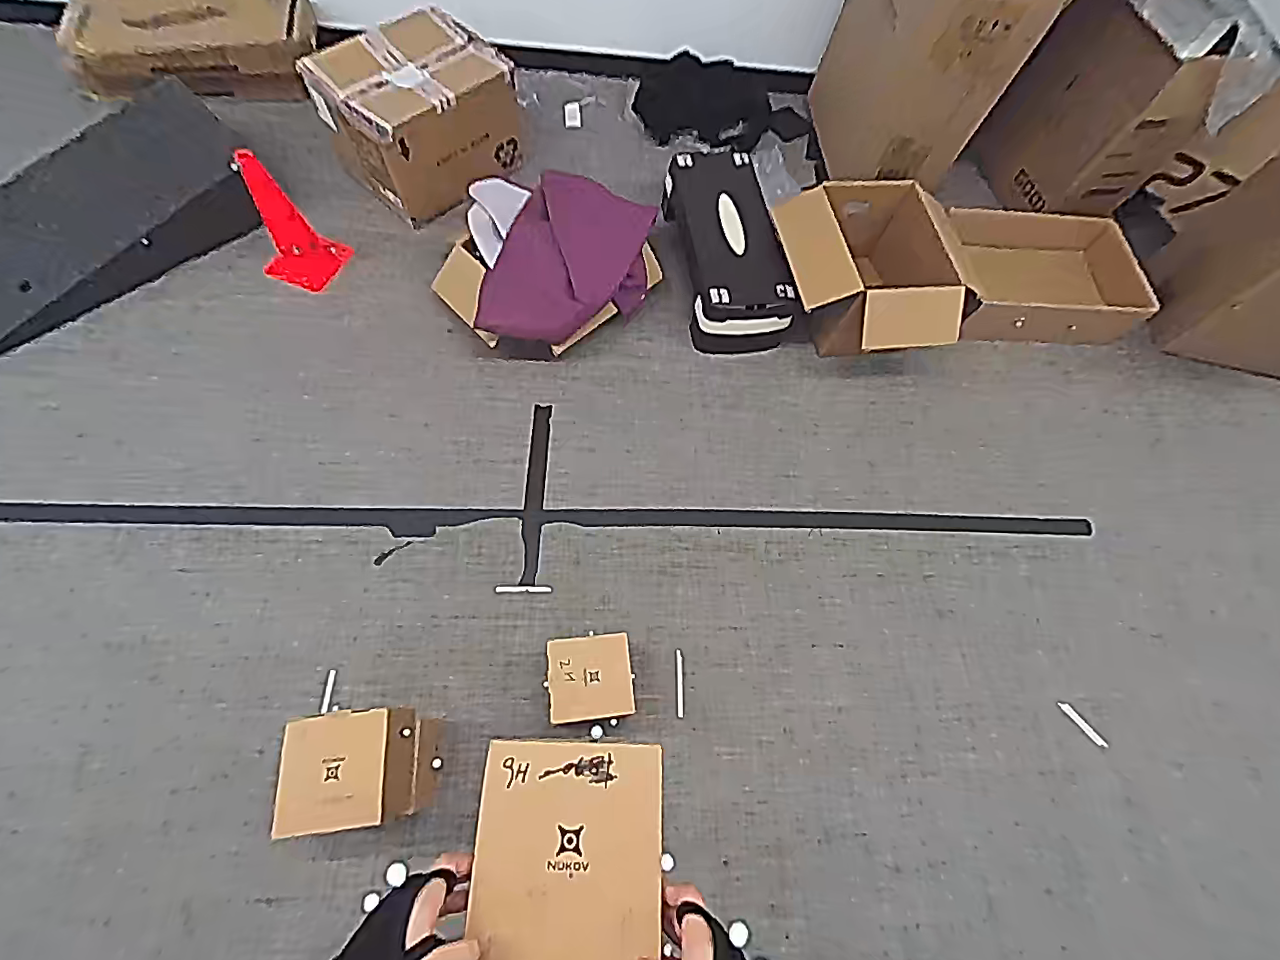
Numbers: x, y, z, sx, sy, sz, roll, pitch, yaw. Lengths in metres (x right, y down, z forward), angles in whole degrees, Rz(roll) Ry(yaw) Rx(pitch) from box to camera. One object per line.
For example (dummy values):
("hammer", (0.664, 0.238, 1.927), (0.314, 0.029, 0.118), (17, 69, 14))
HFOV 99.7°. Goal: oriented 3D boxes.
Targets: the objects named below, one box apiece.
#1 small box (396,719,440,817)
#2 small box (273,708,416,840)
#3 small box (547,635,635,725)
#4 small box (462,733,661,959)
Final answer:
("small box", (-0.521, 0.582, 1.097), (0.179, 0.176, 0.168), (-1, 67, -7))
("small box", (-0.506, 0.506, 0.954), (0.168, 0.176, 0.179), (-5, 68, -6))
("small box", (-0.113, 0.445, 1.201), (0.179, 0.176, 0.168), (-4, 67, -8))
("small box", (-0.062, 0.358, 0.549), (0.168, 0.176, 0.179), (1, 65, 1))
